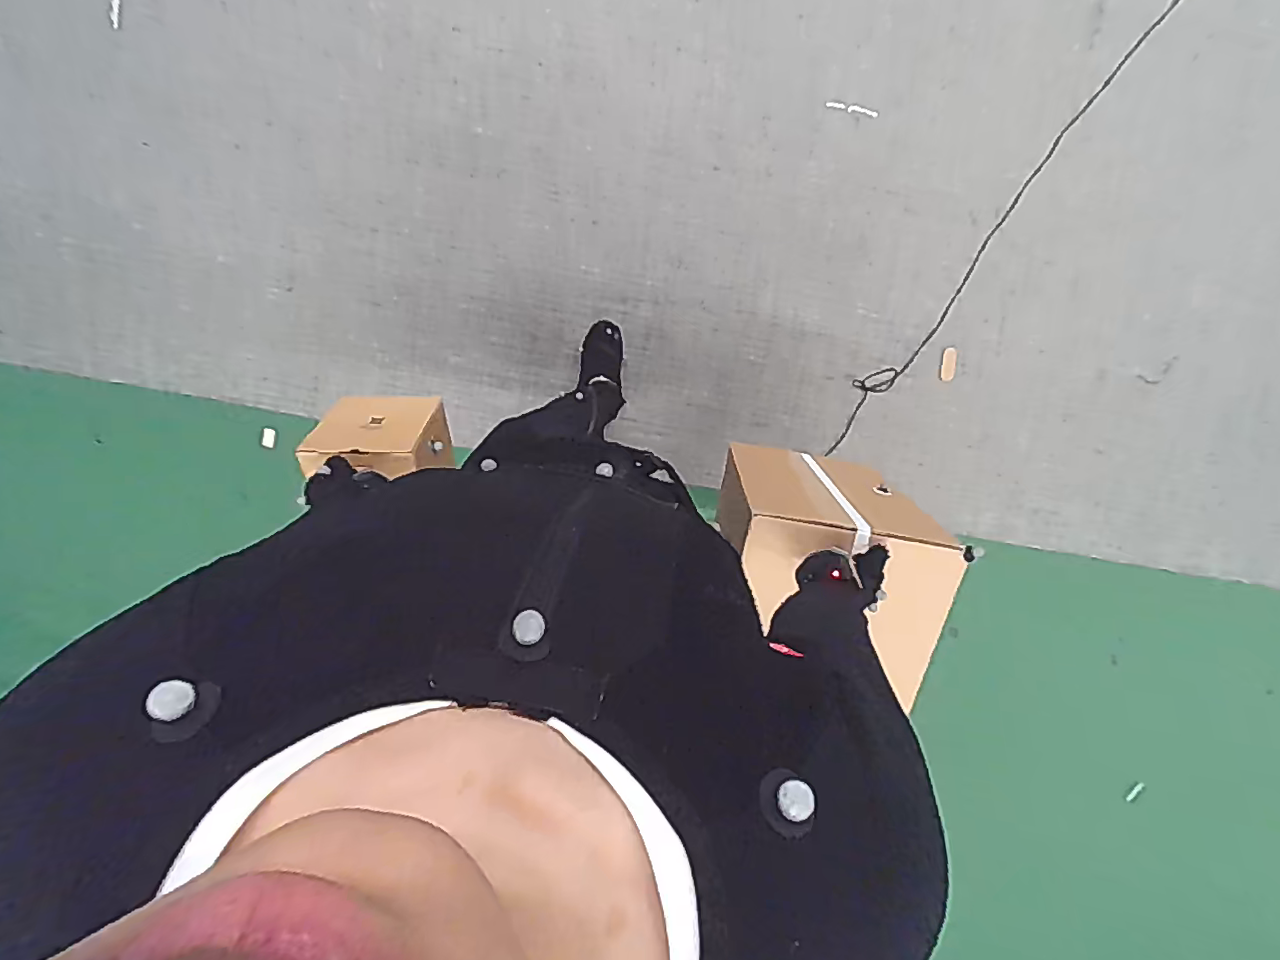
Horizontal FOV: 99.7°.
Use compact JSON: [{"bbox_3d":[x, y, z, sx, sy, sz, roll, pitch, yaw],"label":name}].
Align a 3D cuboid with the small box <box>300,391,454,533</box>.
[{"bbox_3d":[-0.419,-0.032,0.898,0.168,0.179,0.176,0,127,-3],"label":"small box"}]
